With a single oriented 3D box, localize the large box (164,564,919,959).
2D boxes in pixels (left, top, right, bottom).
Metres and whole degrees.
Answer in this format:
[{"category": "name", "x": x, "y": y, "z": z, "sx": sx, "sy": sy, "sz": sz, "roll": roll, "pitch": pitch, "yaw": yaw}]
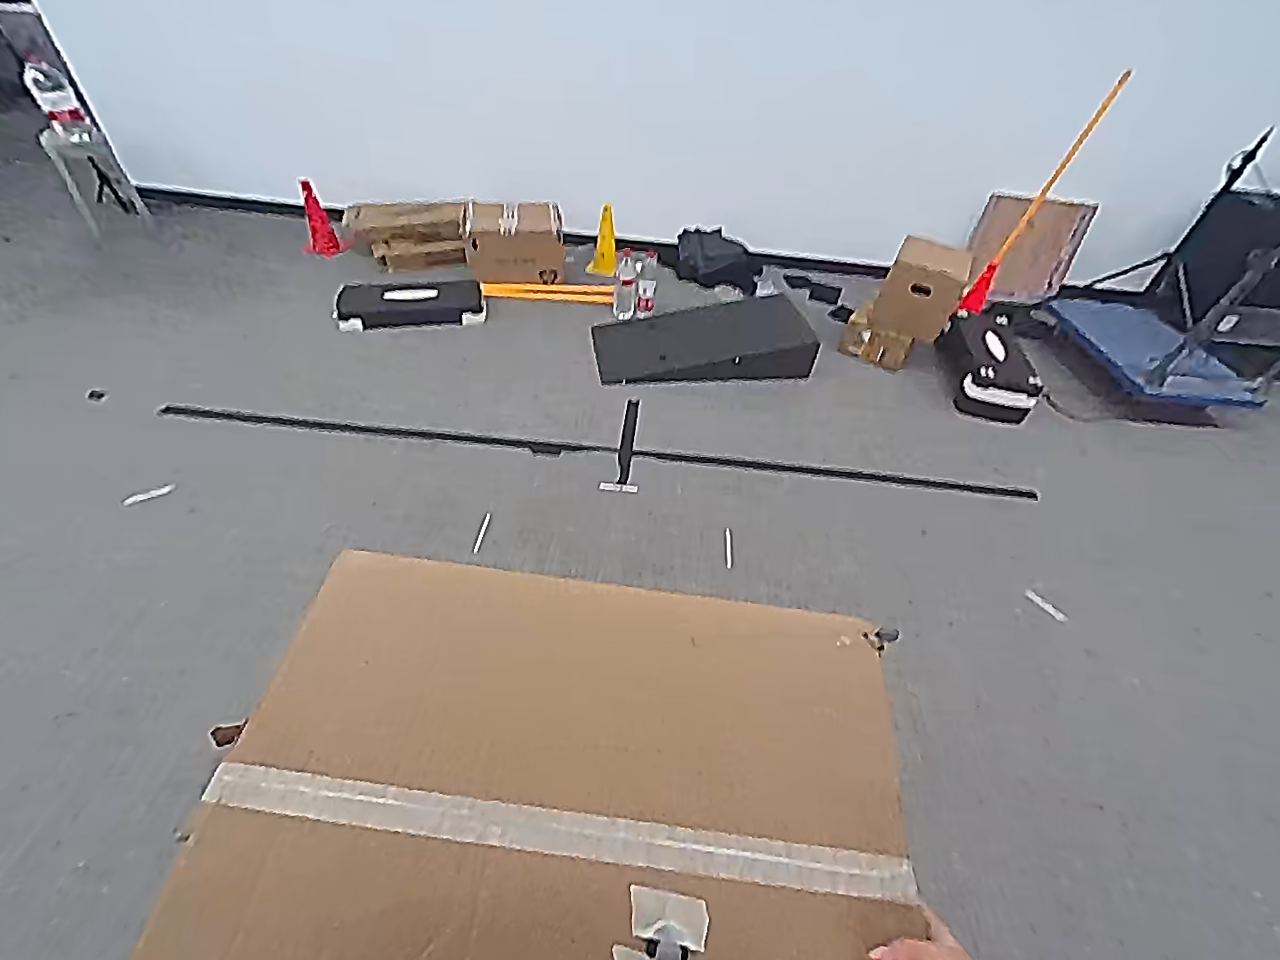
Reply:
[{"category": "large box", "x": -0.049, "y": 0.297, "z": 0.442, "sx": 0.408, "sy": 0.320, "sz": 0.320, "roll": 8, "pitch": 54, "yaw": 1}]
